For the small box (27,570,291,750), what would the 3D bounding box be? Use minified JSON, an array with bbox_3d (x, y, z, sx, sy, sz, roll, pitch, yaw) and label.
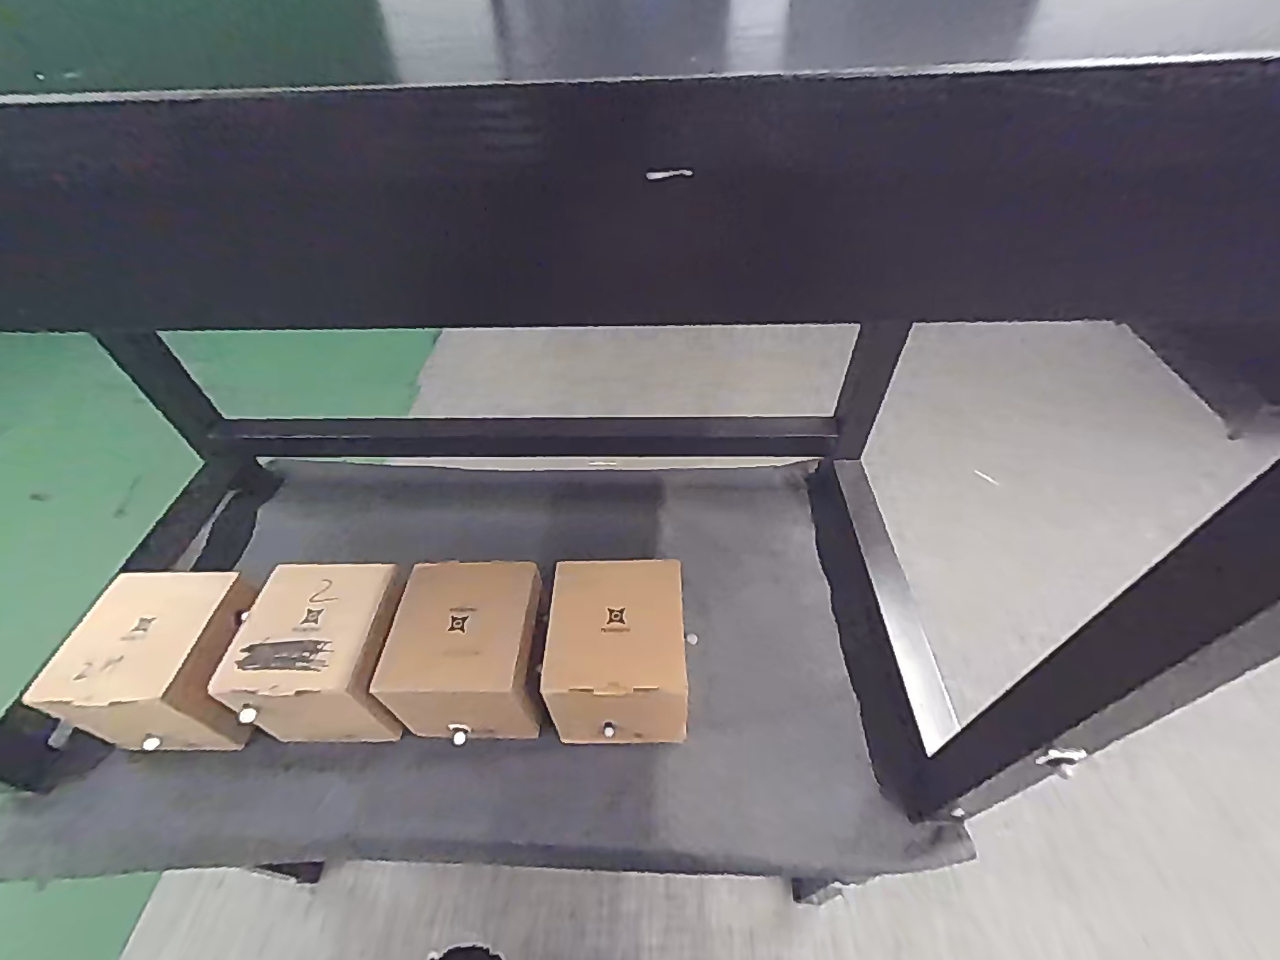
[{"bbox_3d":[-0.610,0.239,0.723,0.168,0.176,0.179,-1,47,2],"label":"small box"}]
